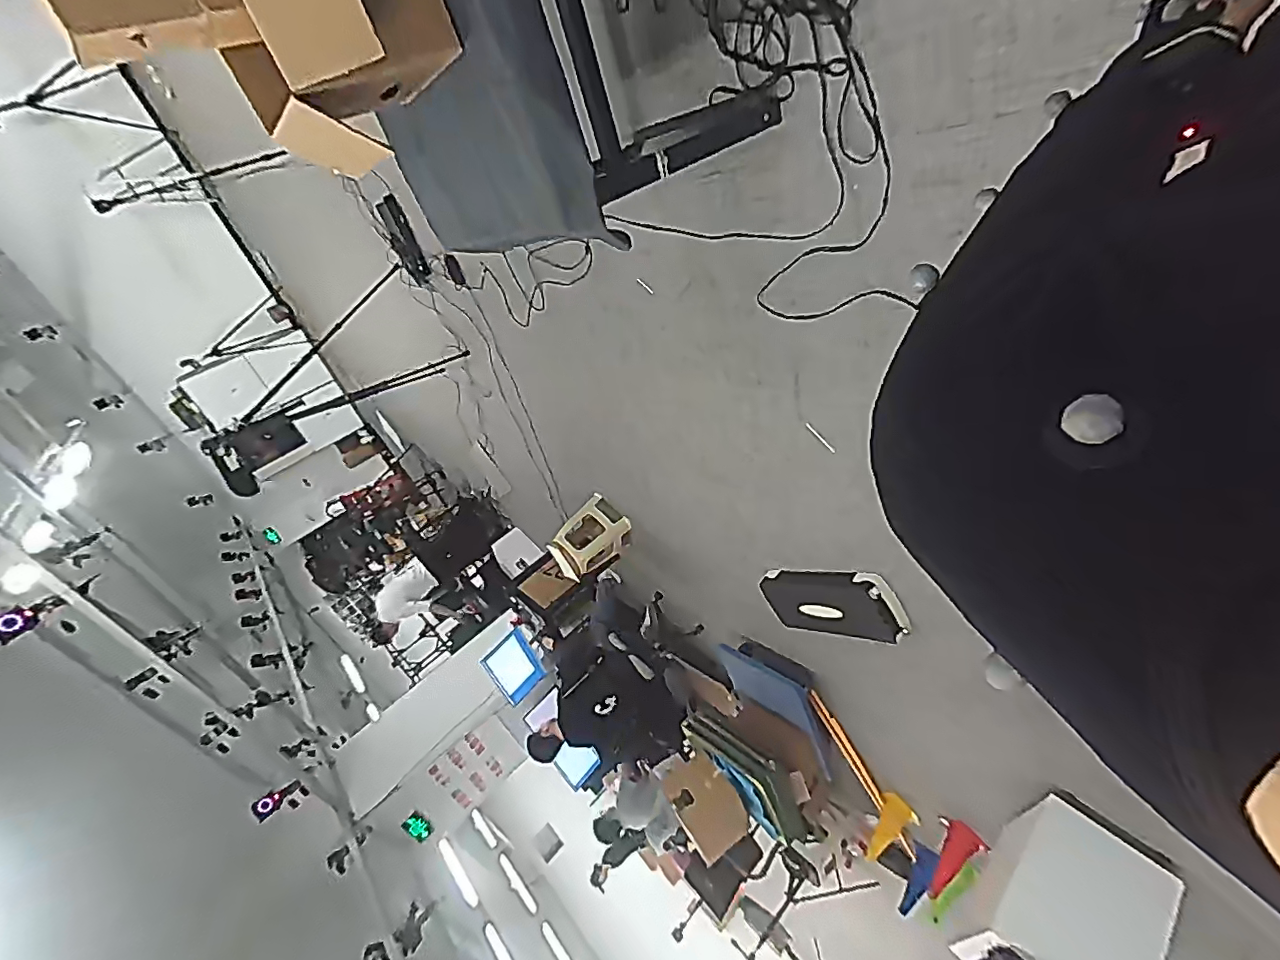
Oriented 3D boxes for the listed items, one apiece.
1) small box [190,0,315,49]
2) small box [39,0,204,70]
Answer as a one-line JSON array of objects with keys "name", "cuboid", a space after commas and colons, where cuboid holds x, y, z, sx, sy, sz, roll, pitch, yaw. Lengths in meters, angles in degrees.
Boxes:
[{"name": "small box", "cuboid": [-0.646, -0.811, 0.834, 0.168, 0.176, 0.179, 21, 141, 47]}, {"name": "small box", "cuboid": [-0.766, -0.722, 0.770, 0.179, 0.176, 0.168, 24, 142, 47]}]
